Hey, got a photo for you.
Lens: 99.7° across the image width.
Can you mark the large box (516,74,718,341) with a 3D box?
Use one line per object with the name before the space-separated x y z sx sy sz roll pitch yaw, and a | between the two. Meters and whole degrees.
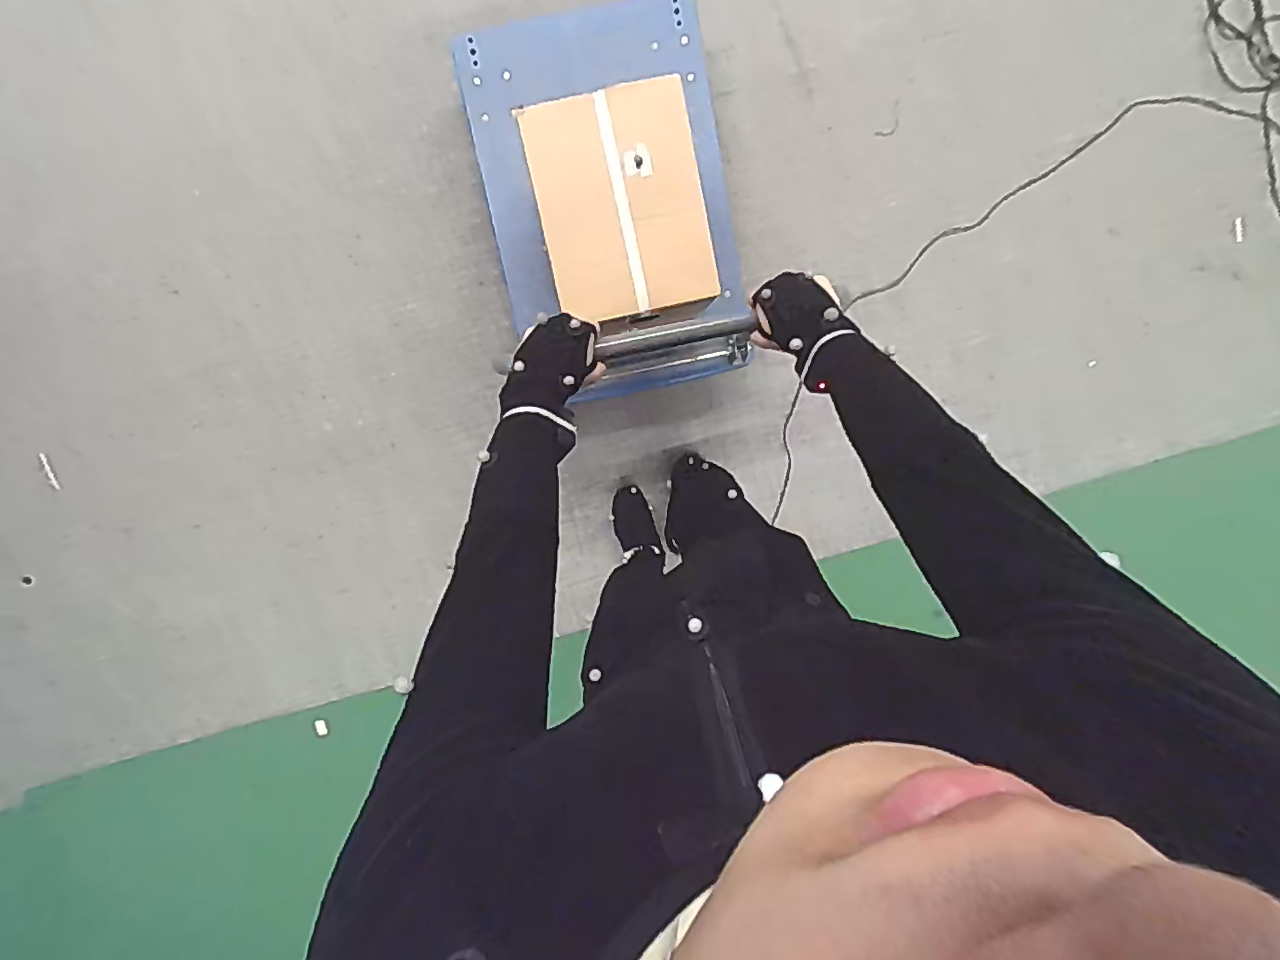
large box | -0.042 -0.551 1.179 0.320 0.320 0.408 -13 99 -1
